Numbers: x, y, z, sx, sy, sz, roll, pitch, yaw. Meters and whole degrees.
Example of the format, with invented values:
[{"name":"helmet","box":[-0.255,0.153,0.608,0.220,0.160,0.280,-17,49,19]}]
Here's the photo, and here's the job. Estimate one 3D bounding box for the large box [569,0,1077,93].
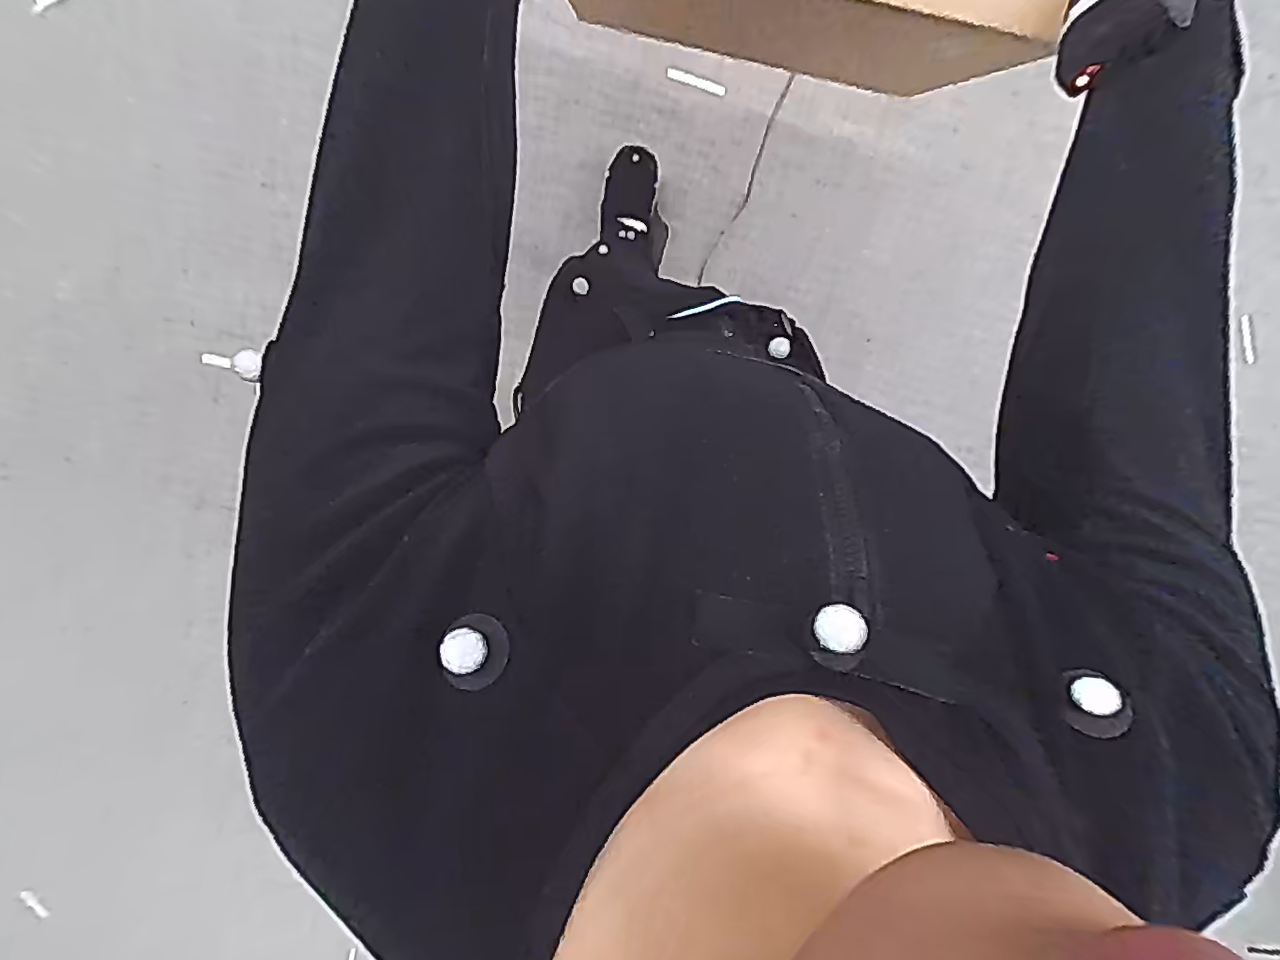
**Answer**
[{"name":"large box","box":[0.145,-0.559,0.447,0.408,0.320,0.320,9,121,-5]}]
